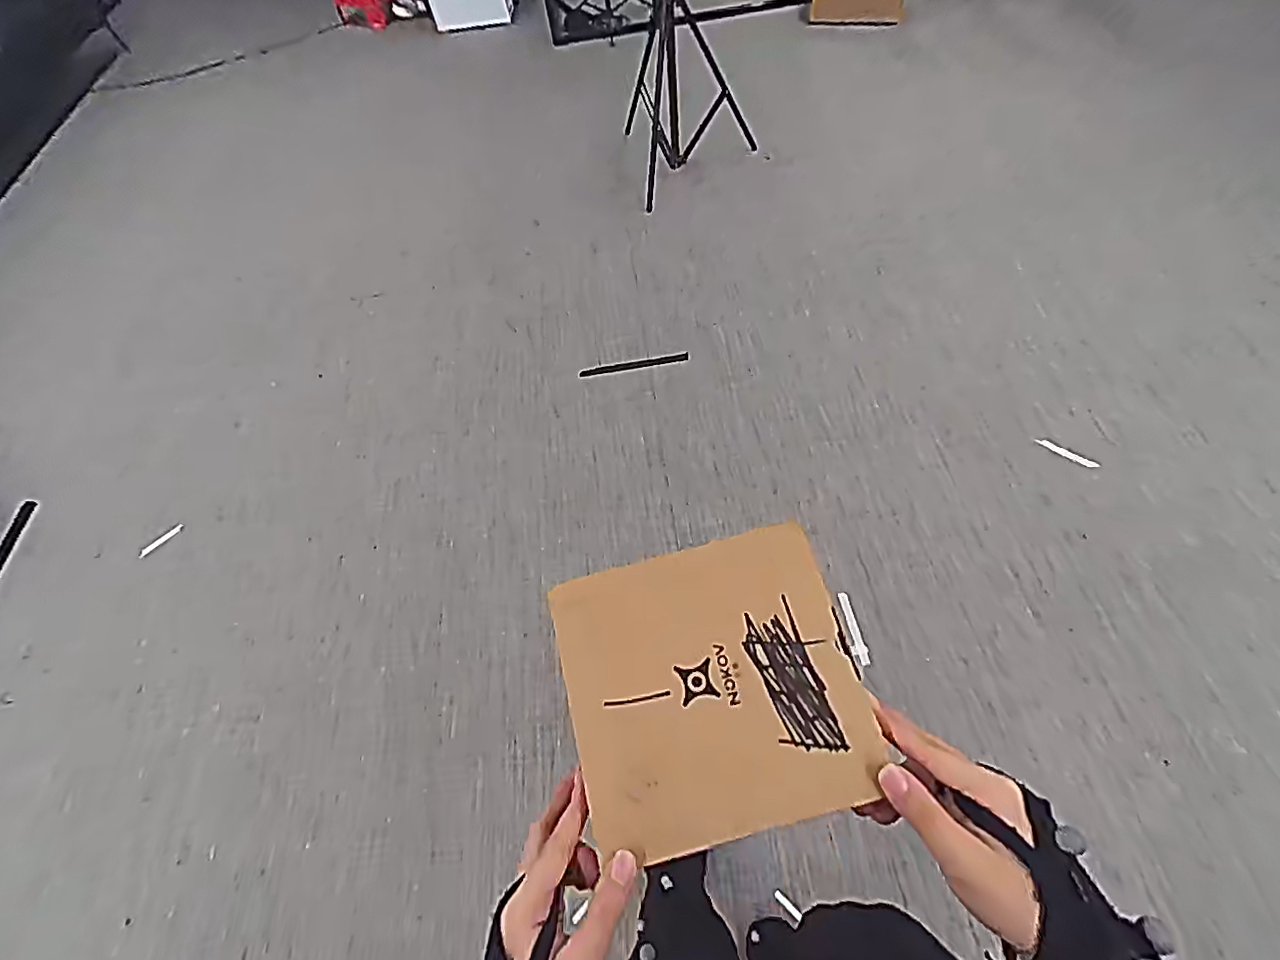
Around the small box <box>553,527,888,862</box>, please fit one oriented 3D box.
[{"bbox_3d":[0.047,0.152,0.411,0.179,0.176,0.168,-15,68,-1],"label":"small box"}]
